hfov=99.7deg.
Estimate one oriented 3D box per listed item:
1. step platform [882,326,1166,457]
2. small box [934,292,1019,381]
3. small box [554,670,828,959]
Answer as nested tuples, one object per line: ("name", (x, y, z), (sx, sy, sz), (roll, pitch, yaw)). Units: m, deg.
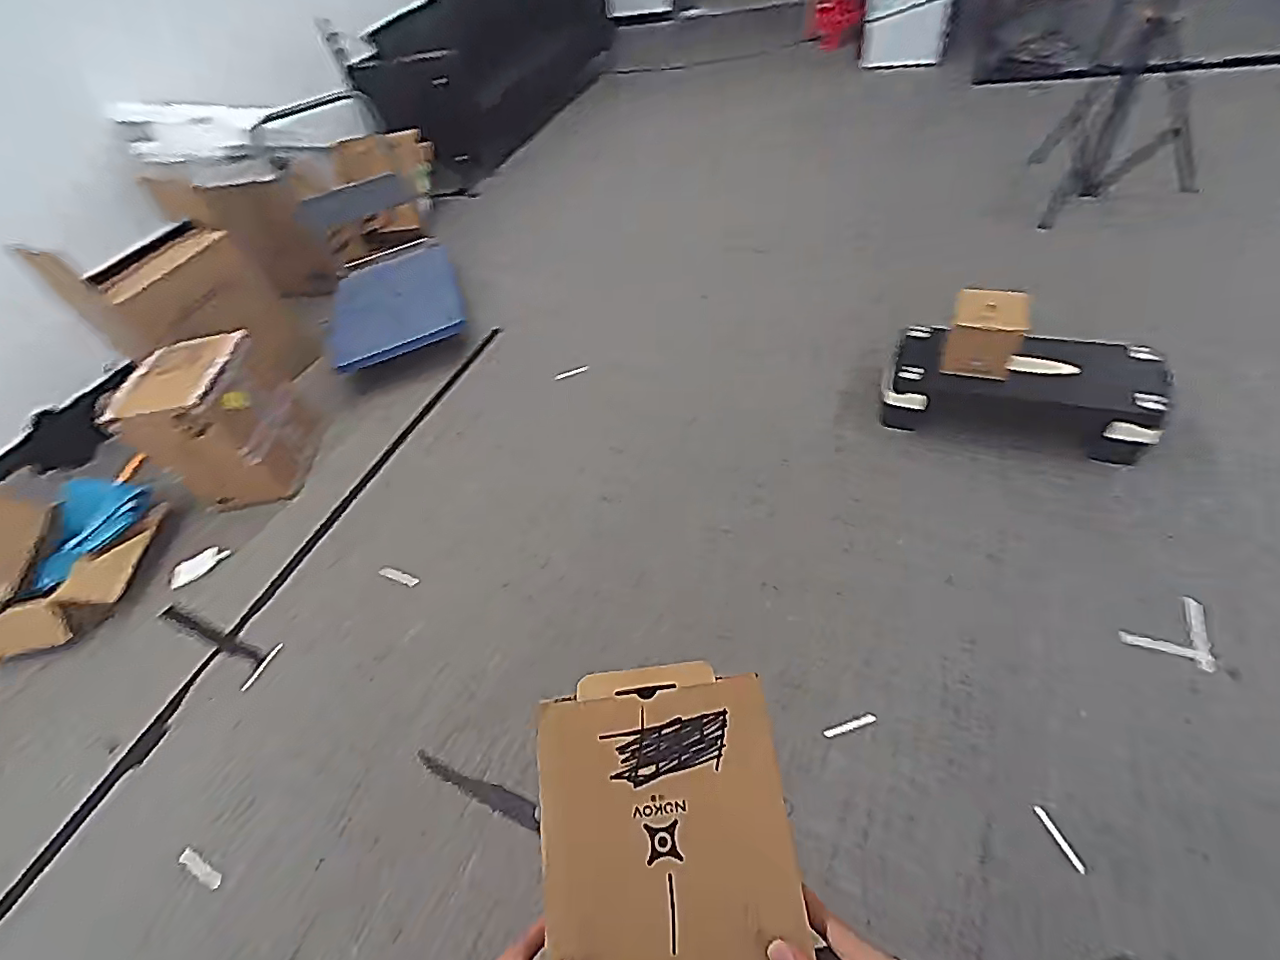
("step platform", (1.111, -0.286, 1.624), (0.684, 0.204, 0.286), (12, 54, 23))
("small box", (0.950, -0.407, 1.534), (0.168, 0.176, 0.179), (13, 55, 24))
("small box", (0.030, 0.258, 0.430), (0.168, 0.176, 0.179), (-7, 66, 2))
